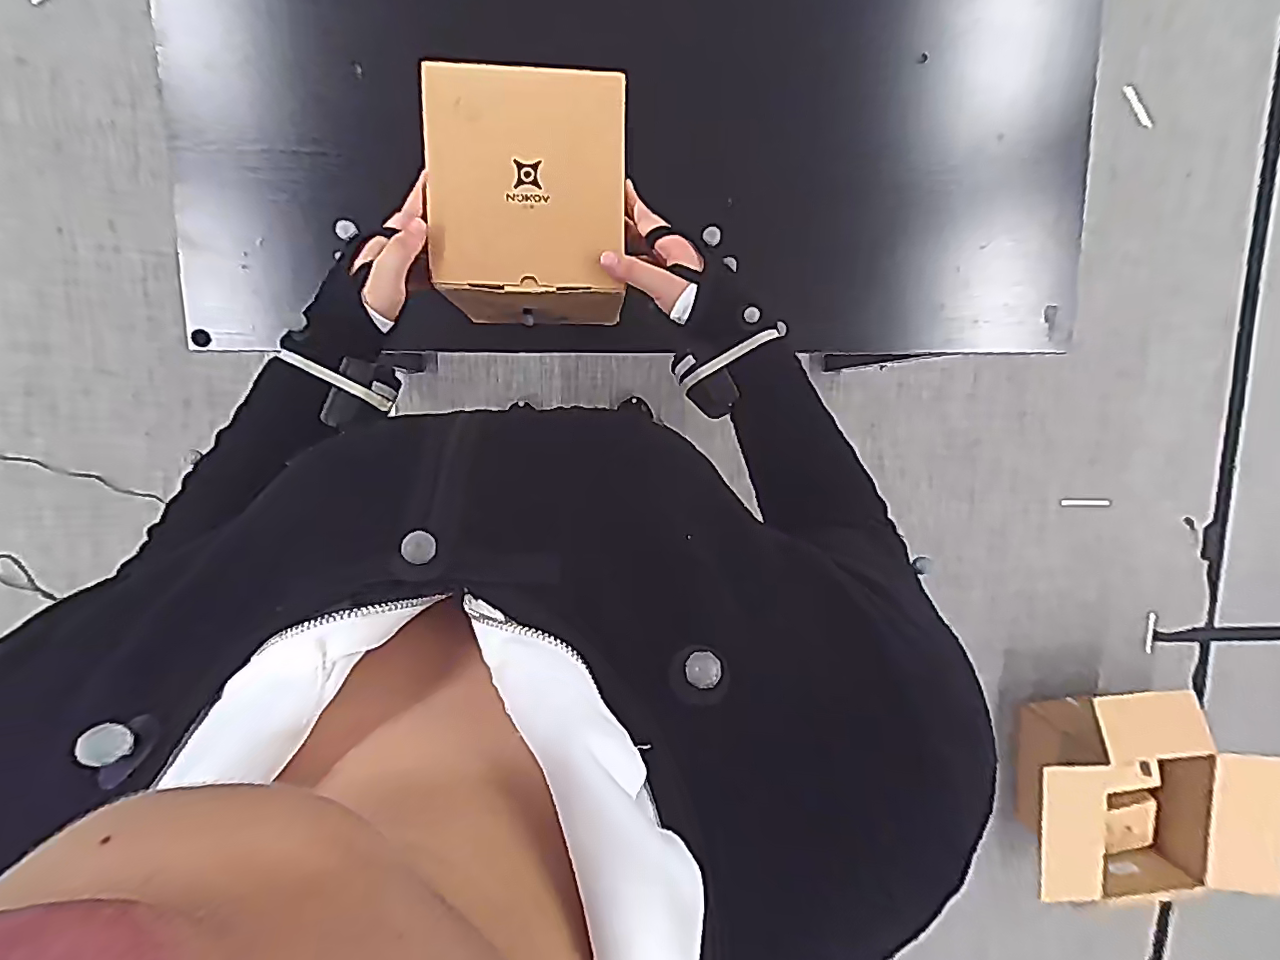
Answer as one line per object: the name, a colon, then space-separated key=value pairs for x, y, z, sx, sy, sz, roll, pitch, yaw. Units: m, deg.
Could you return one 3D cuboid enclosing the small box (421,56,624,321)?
small box: x=-0.105 y=-0.262 z=0.528 sx=0.168 sy=0.176 sz=0.179 roll=0 pitch=97 yaw=-5
